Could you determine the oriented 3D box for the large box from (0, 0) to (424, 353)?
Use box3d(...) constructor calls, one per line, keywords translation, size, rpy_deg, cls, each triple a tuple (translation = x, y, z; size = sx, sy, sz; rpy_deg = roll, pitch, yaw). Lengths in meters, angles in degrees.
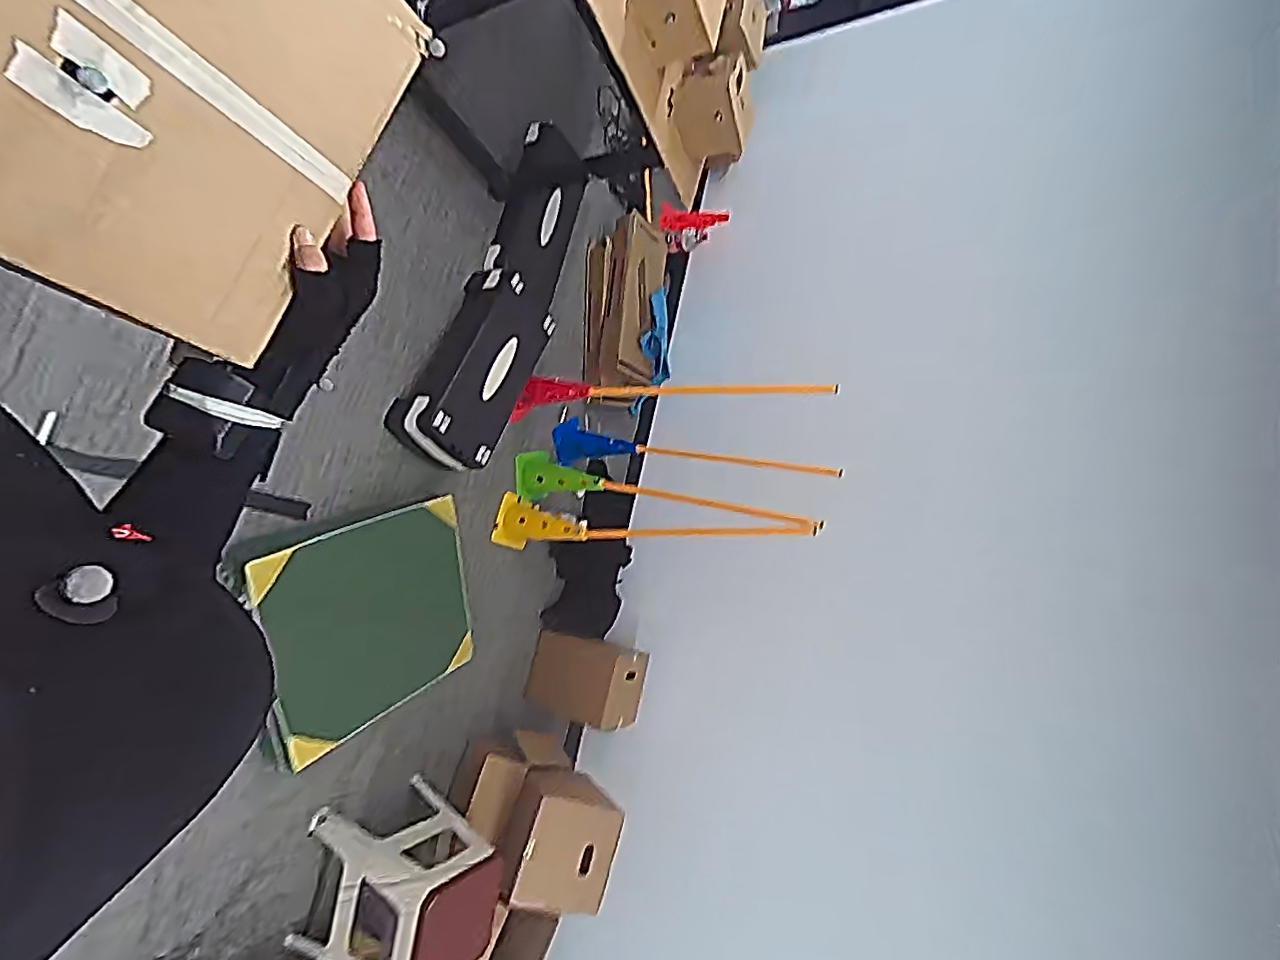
box3d(translation=(-0.454, -0.333, 0.365), size=(0.408, 0.320, 0.320), rpy_deg=(32, 80, -54), cls="large box")
